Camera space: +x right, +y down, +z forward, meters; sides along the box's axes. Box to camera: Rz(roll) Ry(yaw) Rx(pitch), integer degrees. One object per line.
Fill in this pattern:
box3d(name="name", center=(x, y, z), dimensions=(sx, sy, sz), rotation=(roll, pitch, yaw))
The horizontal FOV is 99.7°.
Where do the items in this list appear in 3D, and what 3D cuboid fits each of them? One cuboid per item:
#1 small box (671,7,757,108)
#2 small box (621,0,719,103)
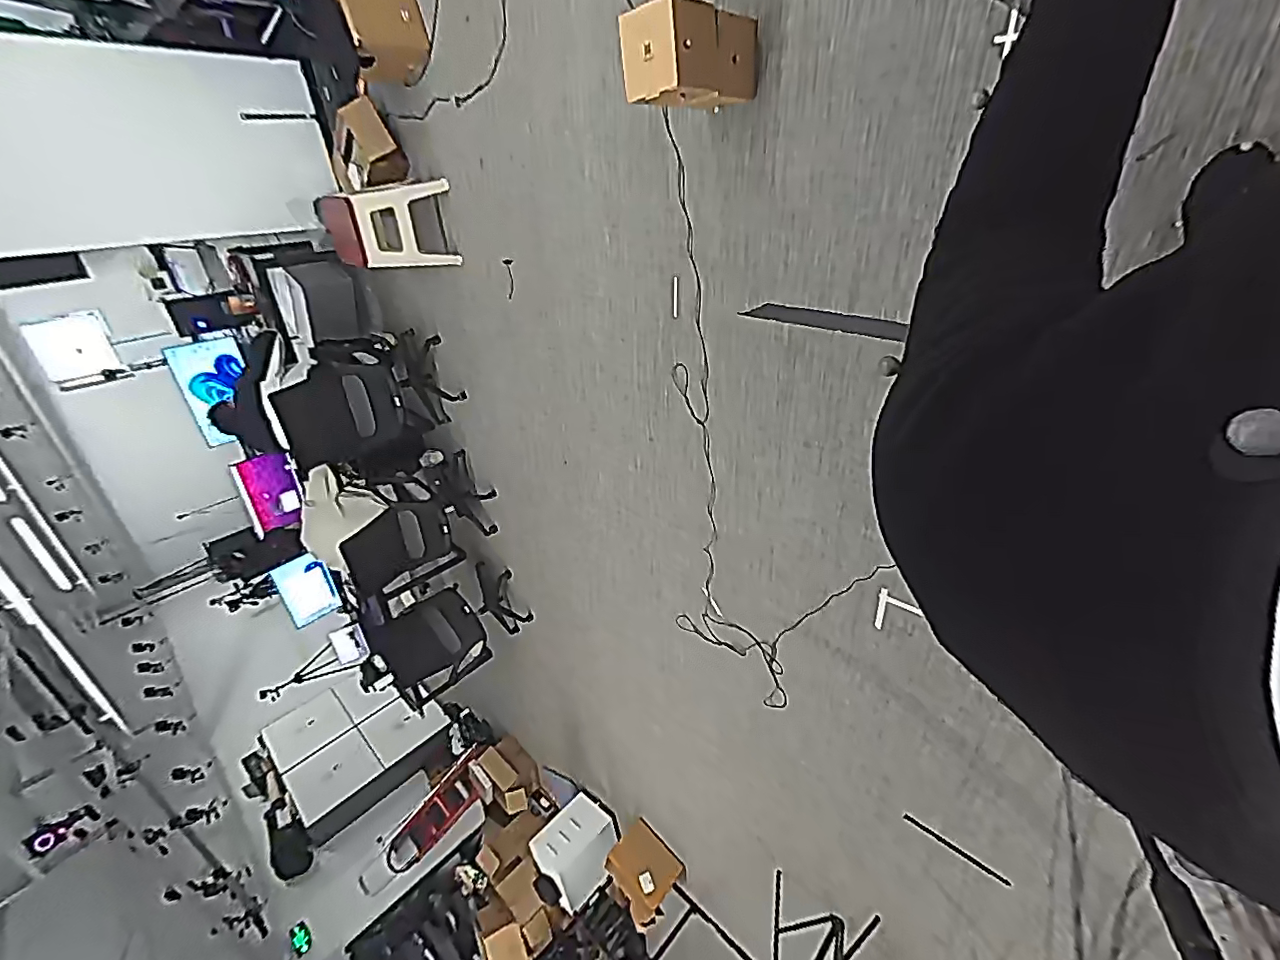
box3d(name="small box", center=(0.191, -1.089, 1.410), dimensions=(0.168, 0.176, 0.179), rotation=(20, 127, 40))
box3d(name="small box", center=(0.077, -1.032, 1.308), dimensions=(0.168, 0.176, 0.179), rotation=(16, 123, 41))
